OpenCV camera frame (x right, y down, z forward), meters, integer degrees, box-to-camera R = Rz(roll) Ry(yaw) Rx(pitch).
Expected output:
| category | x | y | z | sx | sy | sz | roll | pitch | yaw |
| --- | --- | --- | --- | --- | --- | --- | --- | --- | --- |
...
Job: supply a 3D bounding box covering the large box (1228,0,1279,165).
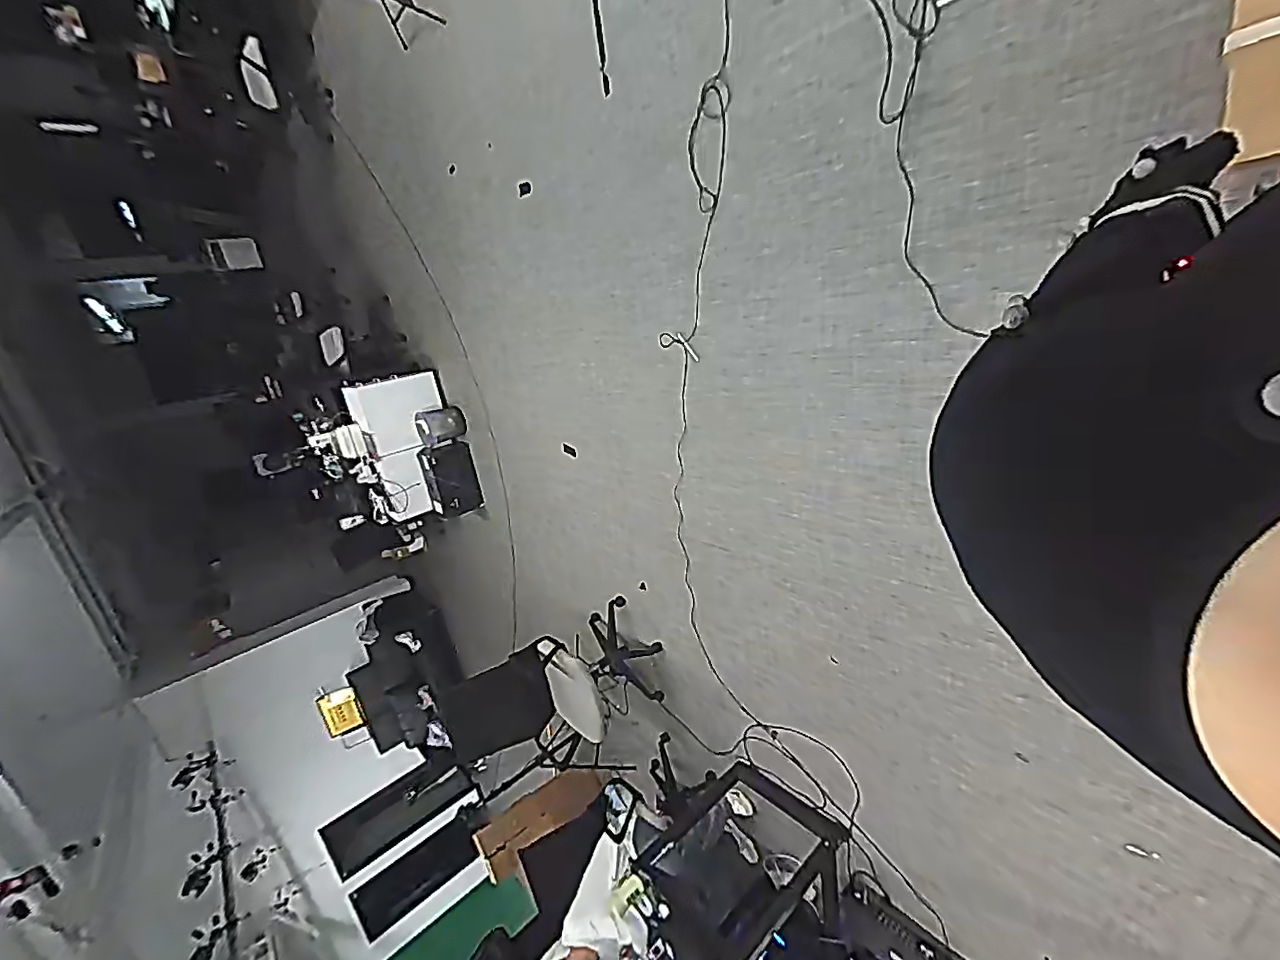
| category | x | y | z | sx | sy | sz | roll | pitch | yaw |
| --- | --- | --- | --- | --- | --- | --- | --- | --- | --- |
| large box | 1.039 | -0.628 | 0.664 | 0.408 | 0.320 | 0.320 | 8 | 115 | 49 |
